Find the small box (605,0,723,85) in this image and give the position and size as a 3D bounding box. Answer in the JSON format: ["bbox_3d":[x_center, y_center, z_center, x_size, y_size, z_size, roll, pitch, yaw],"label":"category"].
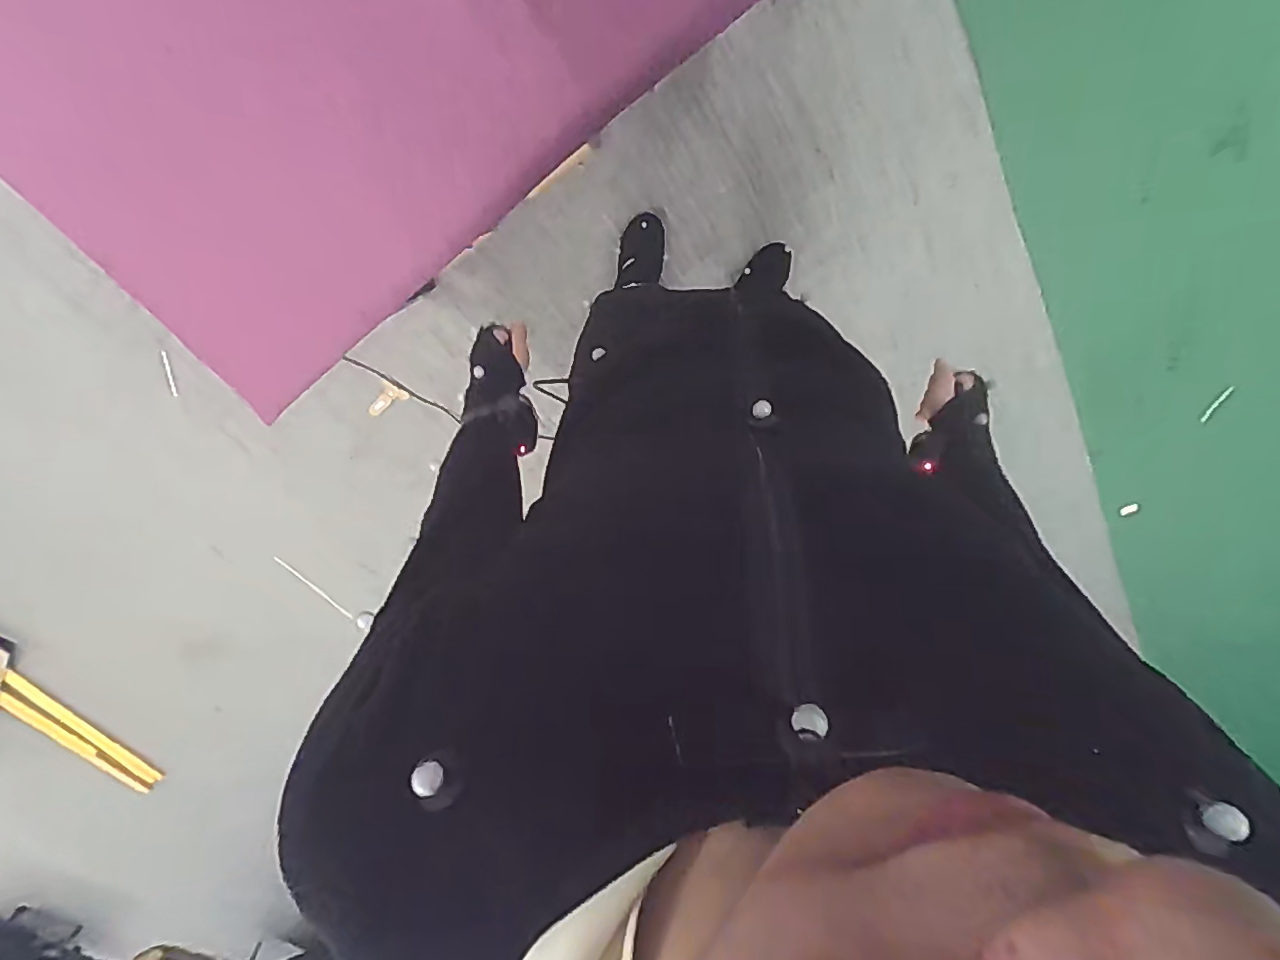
[{"bbox_3d":[0.051,-0.953,1.108,0.179,0.176,0.168,-33,114,19],"label":"small box"}]

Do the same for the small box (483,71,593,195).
[{"bbox_3d":[-0.219,-0.777,1.224,0.179,0.176,0.168,-29,114,18],"label":"small box"}]

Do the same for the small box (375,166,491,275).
[{"bbox_3d":[-0.495,-0.633,1.320,0.179,0.176,0.168,-31,114,18],"label":"small box"}]
